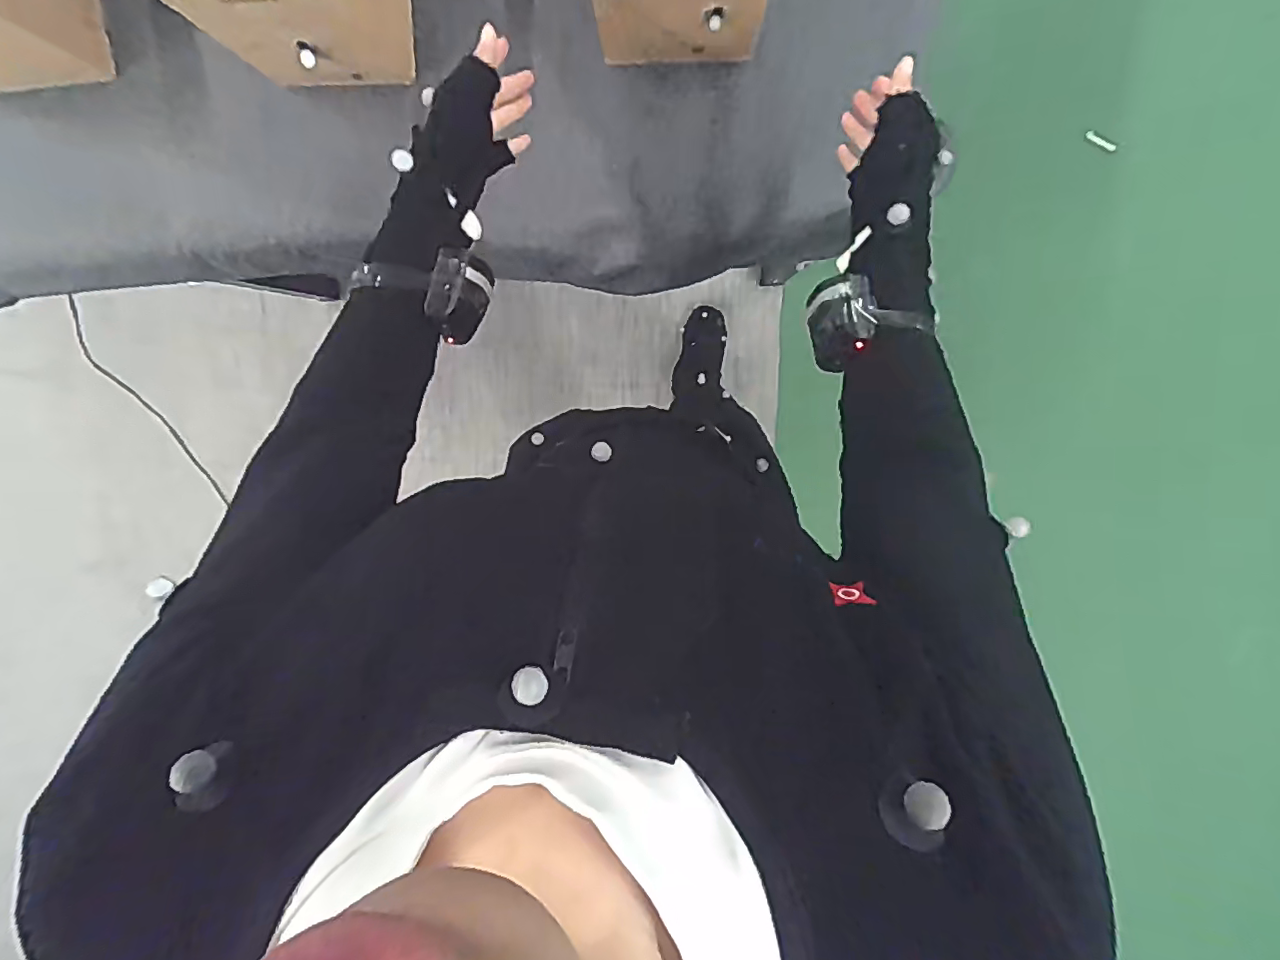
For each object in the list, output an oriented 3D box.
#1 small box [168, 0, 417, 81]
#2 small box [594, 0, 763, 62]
[{"bbox_3d":[-0.339,-0.529,0.538,0.168,0.176,0.179,1,102,3],"label":"small box"},{"bbox_3d":[0.039,-0.536,0.515,0.168,0.176,0.179,0,101,2],"label":"small box"}]
